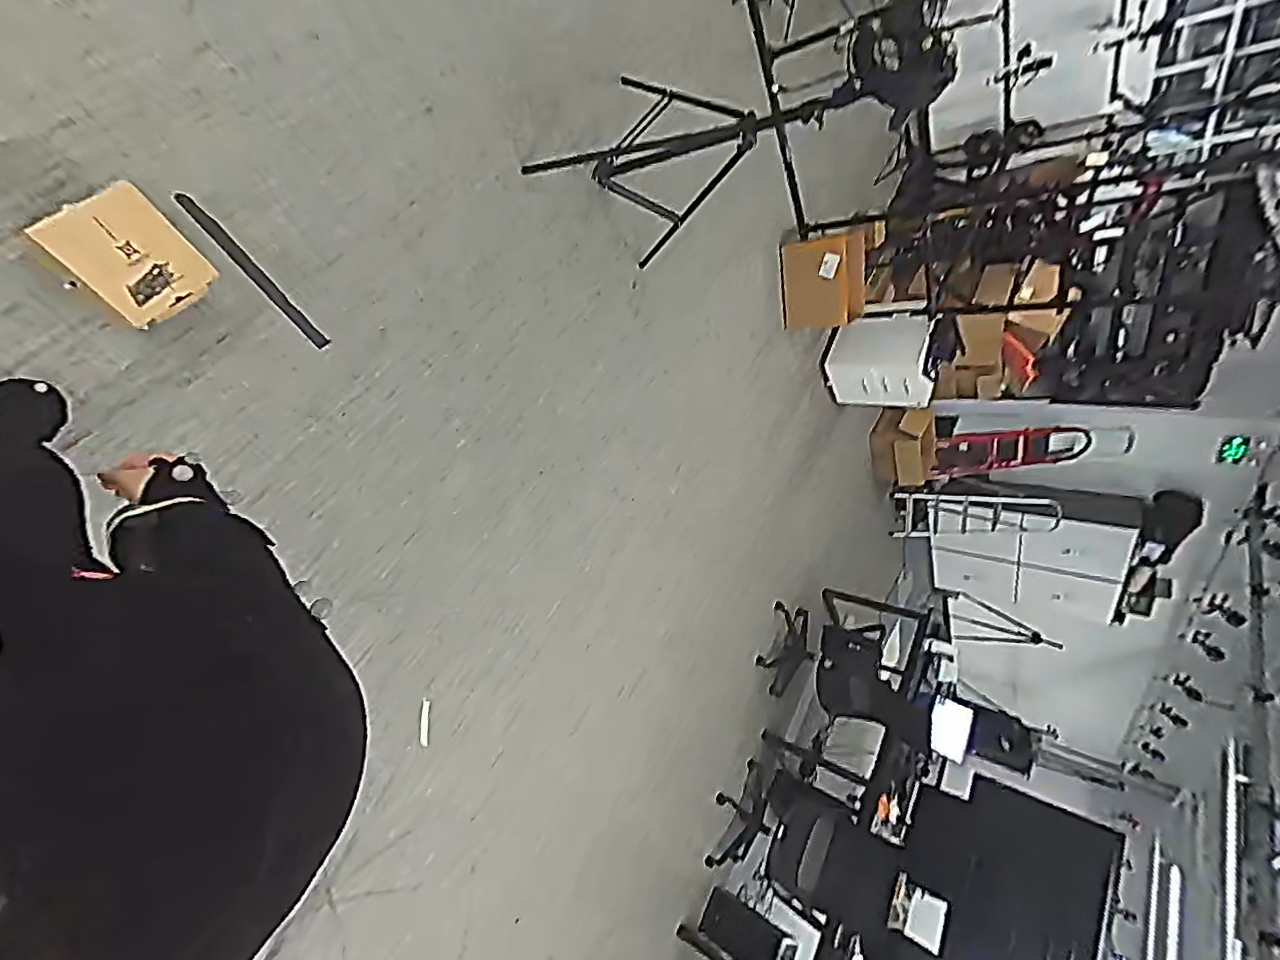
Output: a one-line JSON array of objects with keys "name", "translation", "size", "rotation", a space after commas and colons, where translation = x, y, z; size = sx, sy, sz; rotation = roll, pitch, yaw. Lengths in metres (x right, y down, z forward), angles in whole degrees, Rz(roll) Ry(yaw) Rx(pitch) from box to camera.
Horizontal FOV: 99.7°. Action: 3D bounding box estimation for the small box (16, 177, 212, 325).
[{"name": "small box", "translation": [-0.910, -0.389, 0.941], "size": [0.168, 0.176, 0.179], "rotation": [-55, 134, -28]}]
